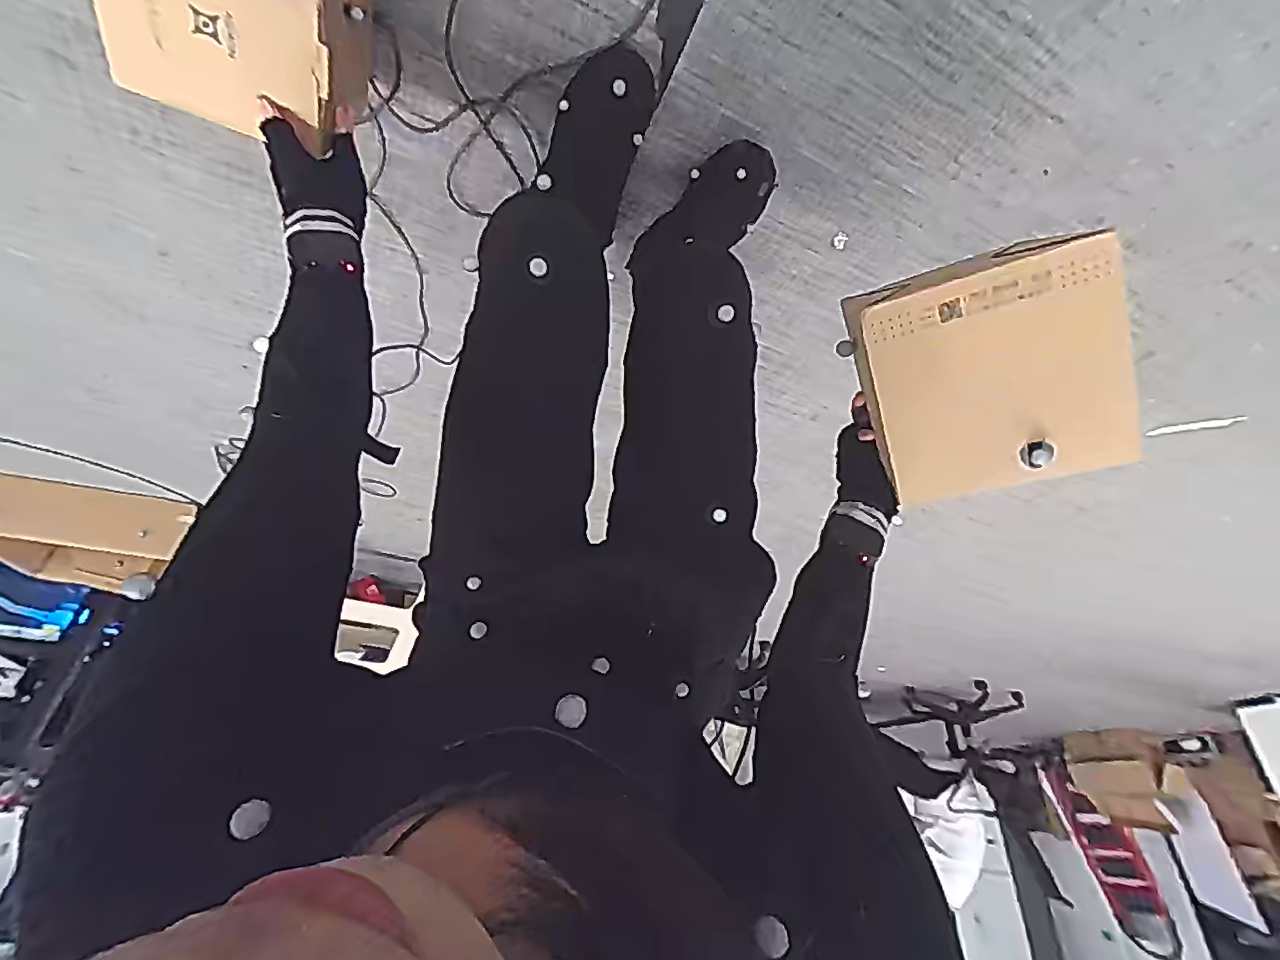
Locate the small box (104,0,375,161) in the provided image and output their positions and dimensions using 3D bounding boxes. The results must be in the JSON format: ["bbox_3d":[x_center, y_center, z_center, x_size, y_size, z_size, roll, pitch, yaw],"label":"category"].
[{"bbox_3d":[-0.374,-0.458,0.531,0.179,0.176,0.168,15,134,-18],"label":"small box"}]
